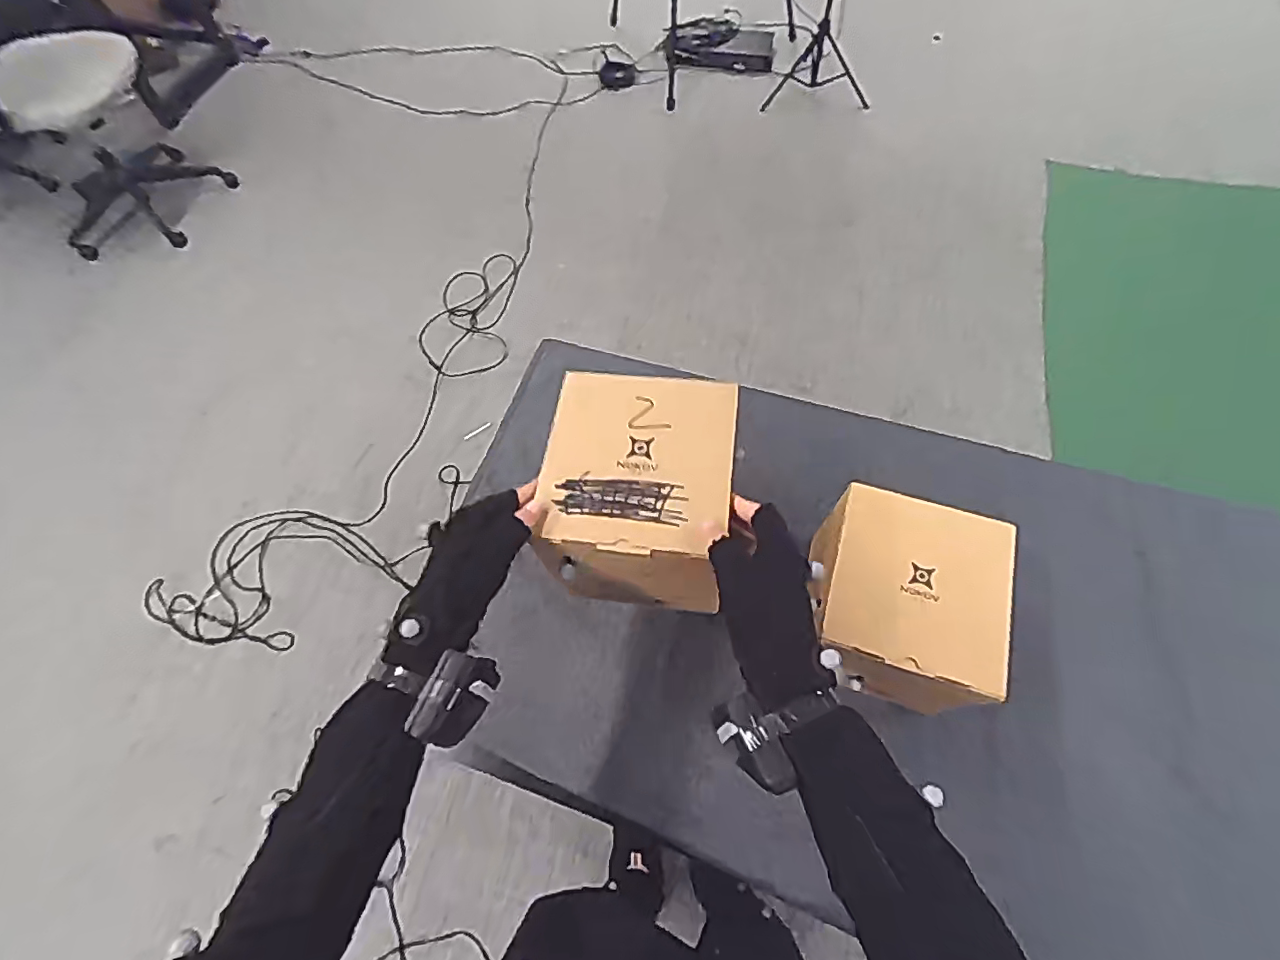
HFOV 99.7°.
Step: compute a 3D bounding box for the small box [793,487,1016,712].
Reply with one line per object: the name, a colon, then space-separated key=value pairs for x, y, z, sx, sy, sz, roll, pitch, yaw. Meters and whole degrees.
small box: x=0.278 y=0.137 z=0.596 sx=0.168 sy=0.176 sz=0.179 roll=16 pitch=66 yaw=12
